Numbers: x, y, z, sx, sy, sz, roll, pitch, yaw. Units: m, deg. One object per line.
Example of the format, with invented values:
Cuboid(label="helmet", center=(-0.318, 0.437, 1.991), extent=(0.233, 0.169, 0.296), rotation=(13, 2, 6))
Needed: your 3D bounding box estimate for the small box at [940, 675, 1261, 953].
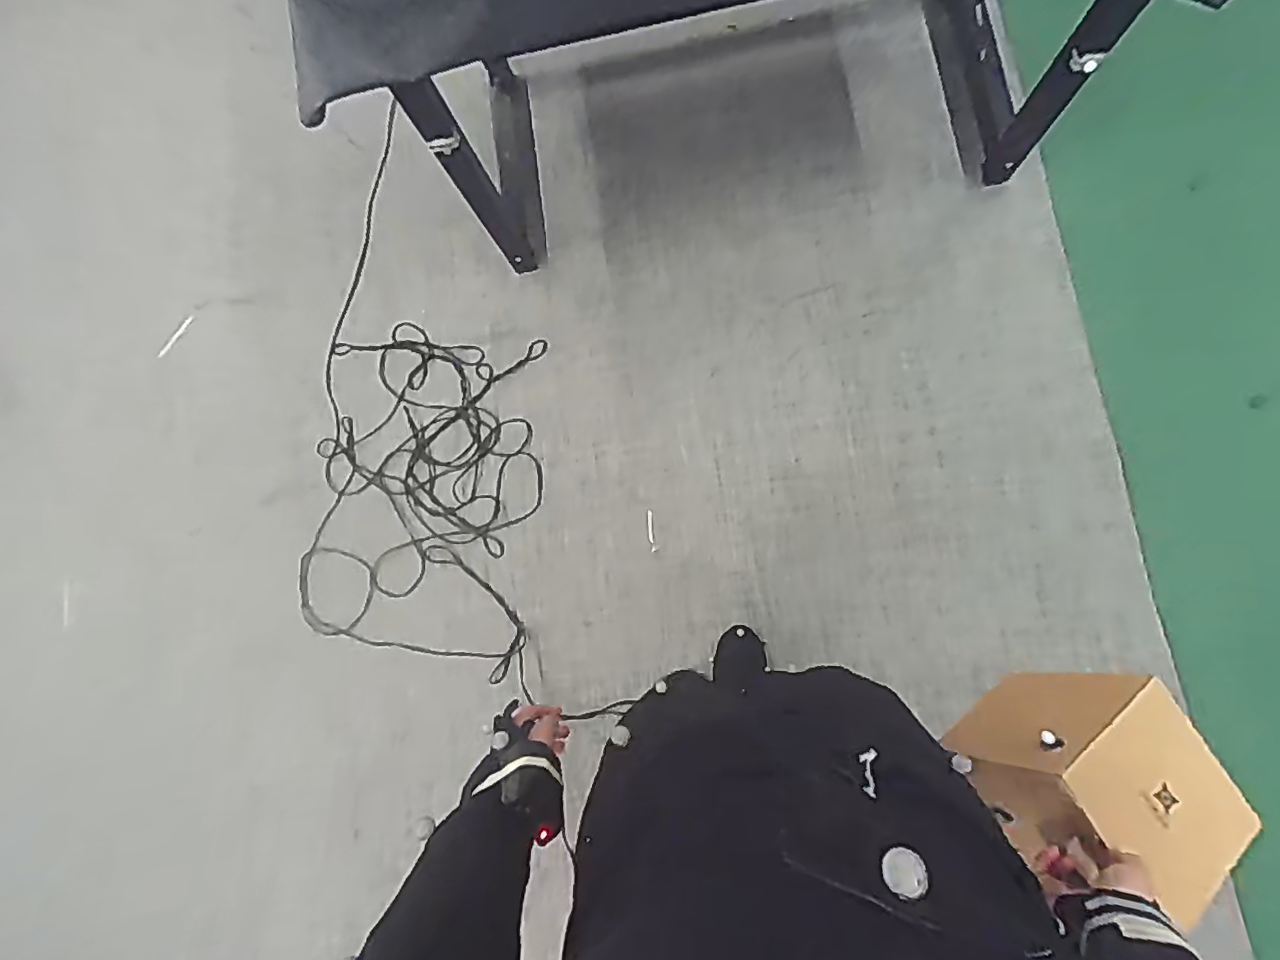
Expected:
Cuboid(label="small box", center=(0.473, 0.326, 0.579), extent=(0.179, 0.176, 0.168), rotation=(-27, 81, -20))
